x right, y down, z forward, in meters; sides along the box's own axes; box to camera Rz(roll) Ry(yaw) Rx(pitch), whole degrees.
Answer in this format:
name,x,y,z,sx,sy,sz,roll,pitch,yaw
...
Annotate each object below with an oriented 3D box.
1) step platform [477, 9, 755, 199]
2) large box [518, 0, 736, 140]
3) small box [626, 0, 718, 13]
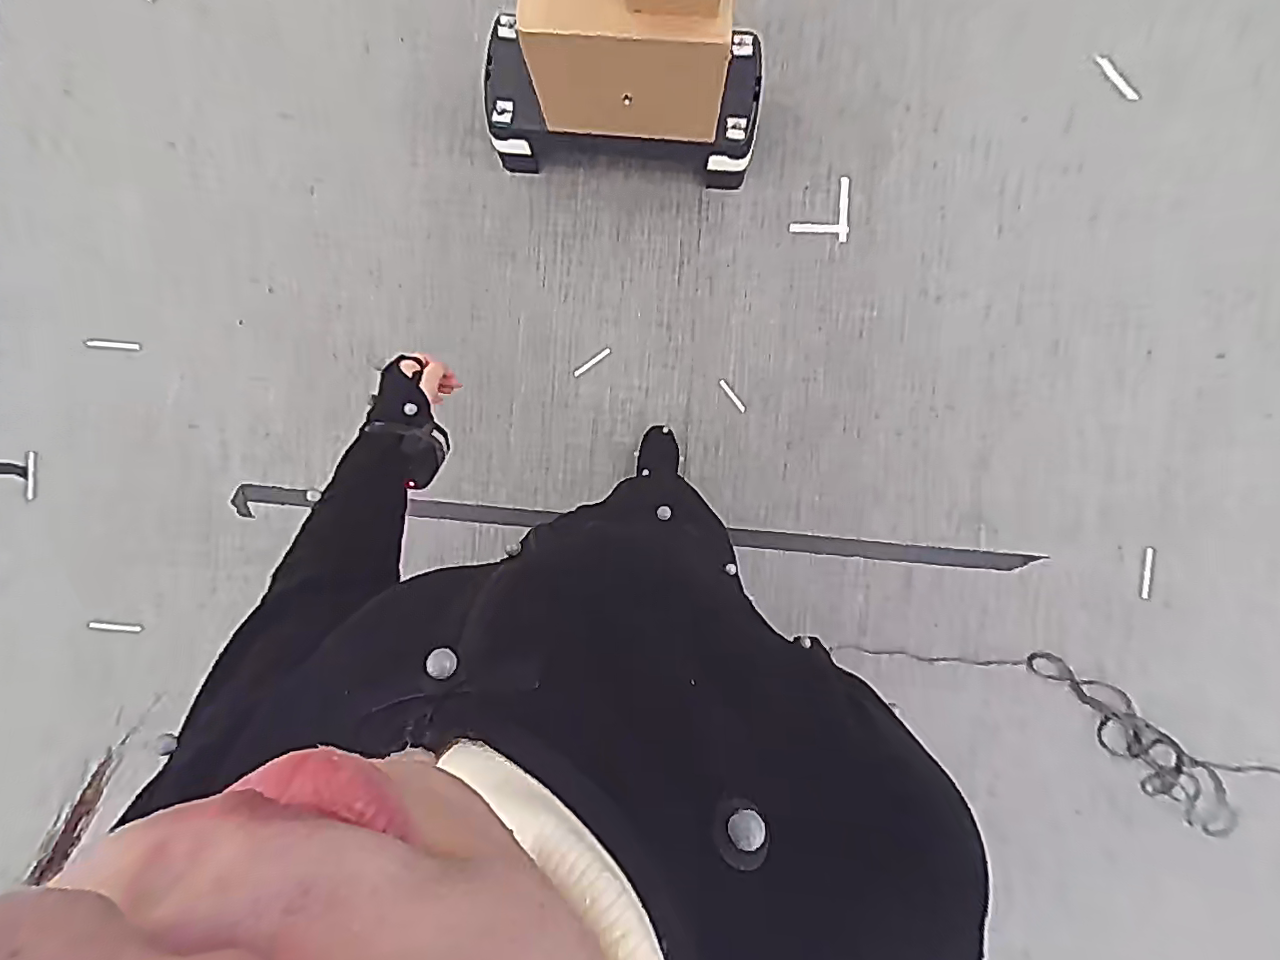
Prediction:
name,x,y,z,sx,sy,sz,roll,pitch,yaw
step platform,-0.057,-0.949,1.374,0.684,0.204,0.286,10,92,2
large box,-0.010,-0.957,1.134,0.408,0.320,0.320,4,91,3
small box,0.063,-0.917,0.887,0.179,0.176,0.168,5,92,2
